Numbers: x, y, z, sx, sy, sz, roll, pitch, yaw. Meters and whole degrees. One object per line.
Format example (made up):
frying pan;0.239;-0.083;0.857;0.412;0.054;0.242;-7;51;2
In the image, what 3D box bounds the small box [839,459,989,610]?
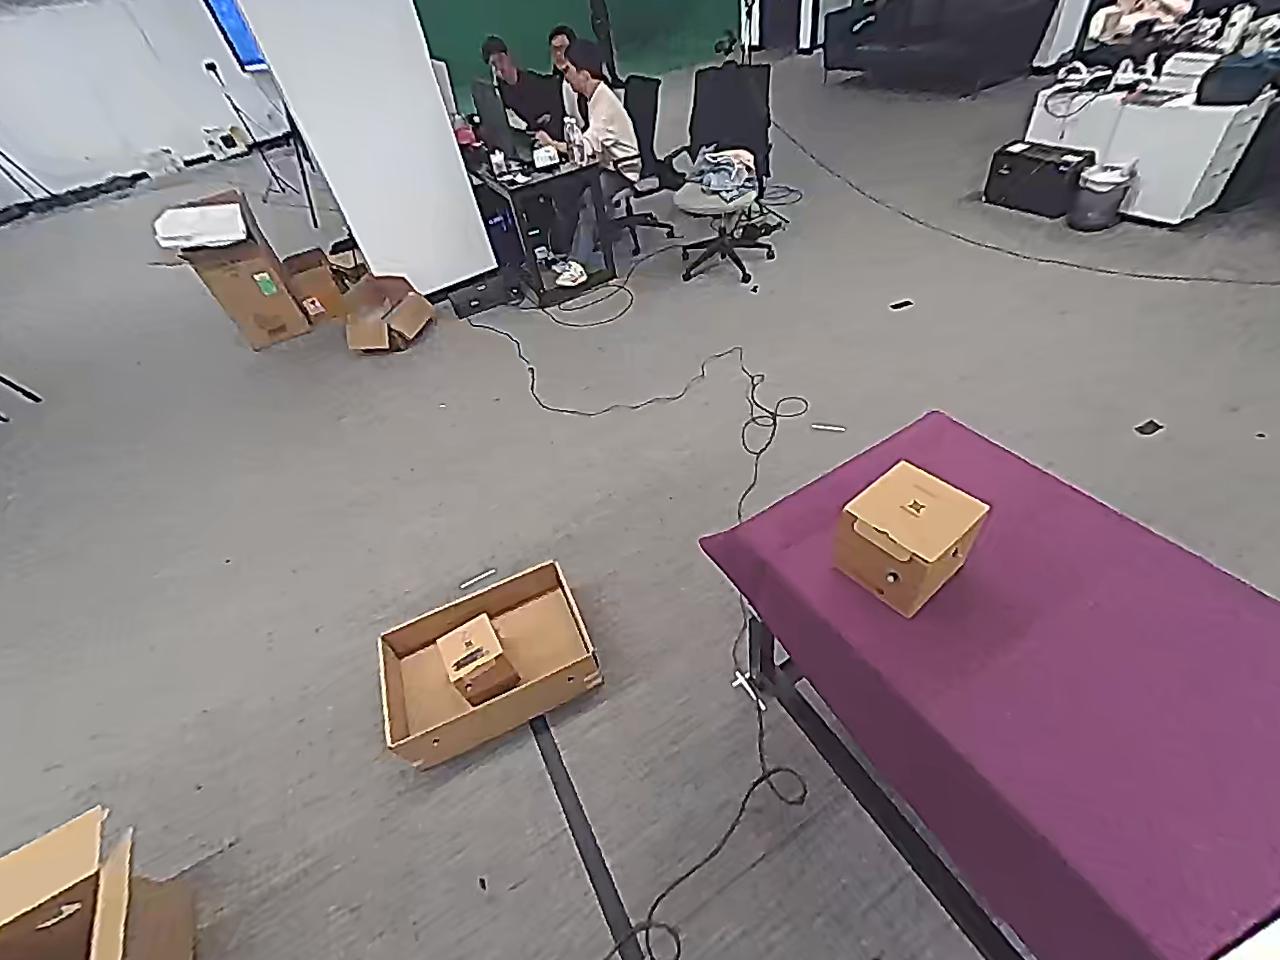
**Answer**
small box;0.479;0.100;0.974;0.179;0.176;0.168;-33;49;-21
